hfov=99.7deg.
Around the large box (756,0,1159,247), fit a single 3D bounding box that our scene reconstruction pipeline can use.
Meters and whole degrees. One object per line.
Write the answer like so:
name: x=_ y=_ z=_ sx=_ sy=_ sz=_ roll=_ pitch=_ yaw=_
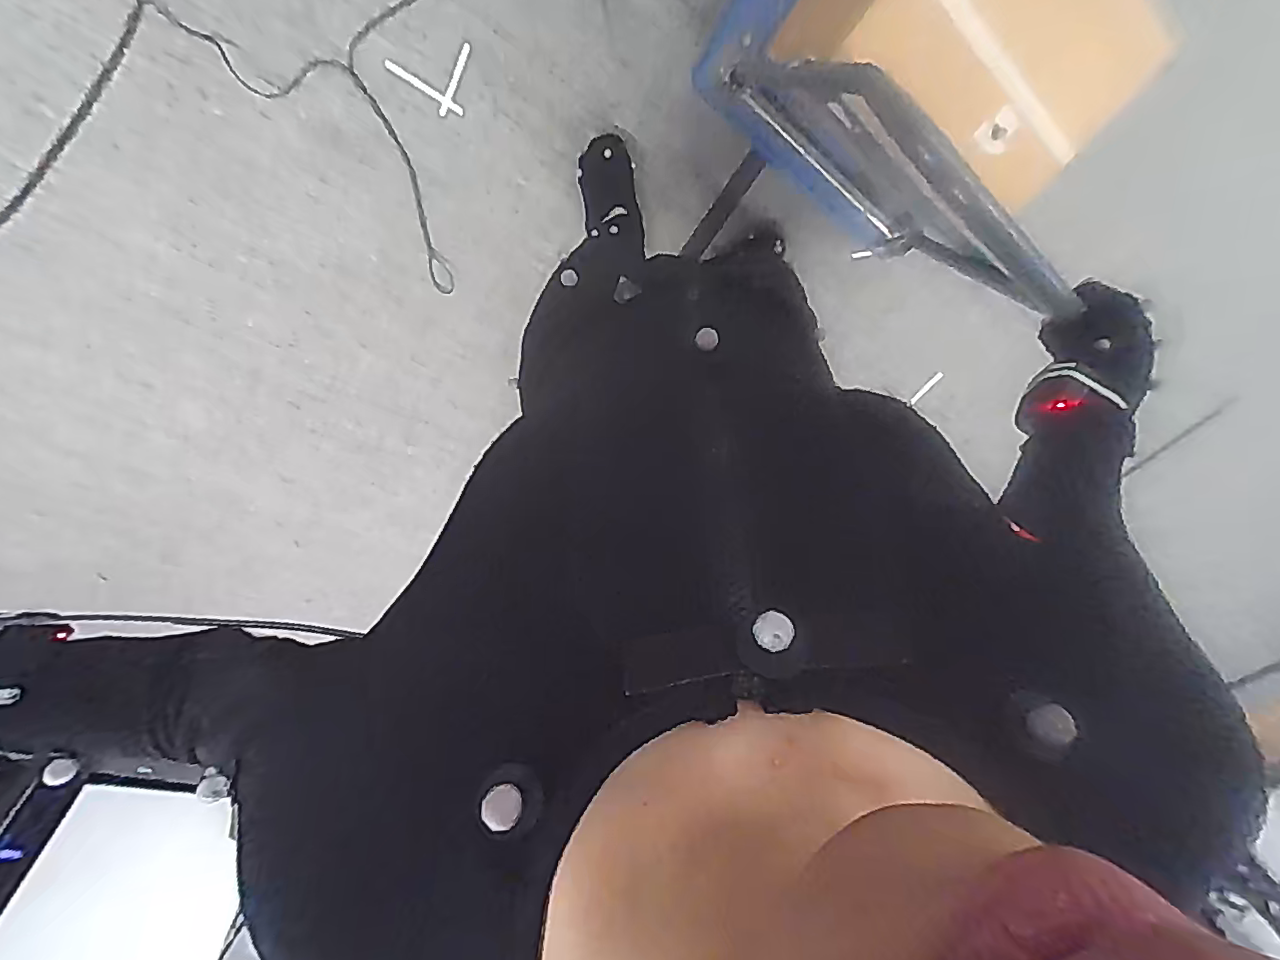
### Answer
large box: x=0.459 y=-0.655 z=0.849 sx=0.408 sy=0.320 sz=0.320 roll=25 pitch=124 yaw=-27
